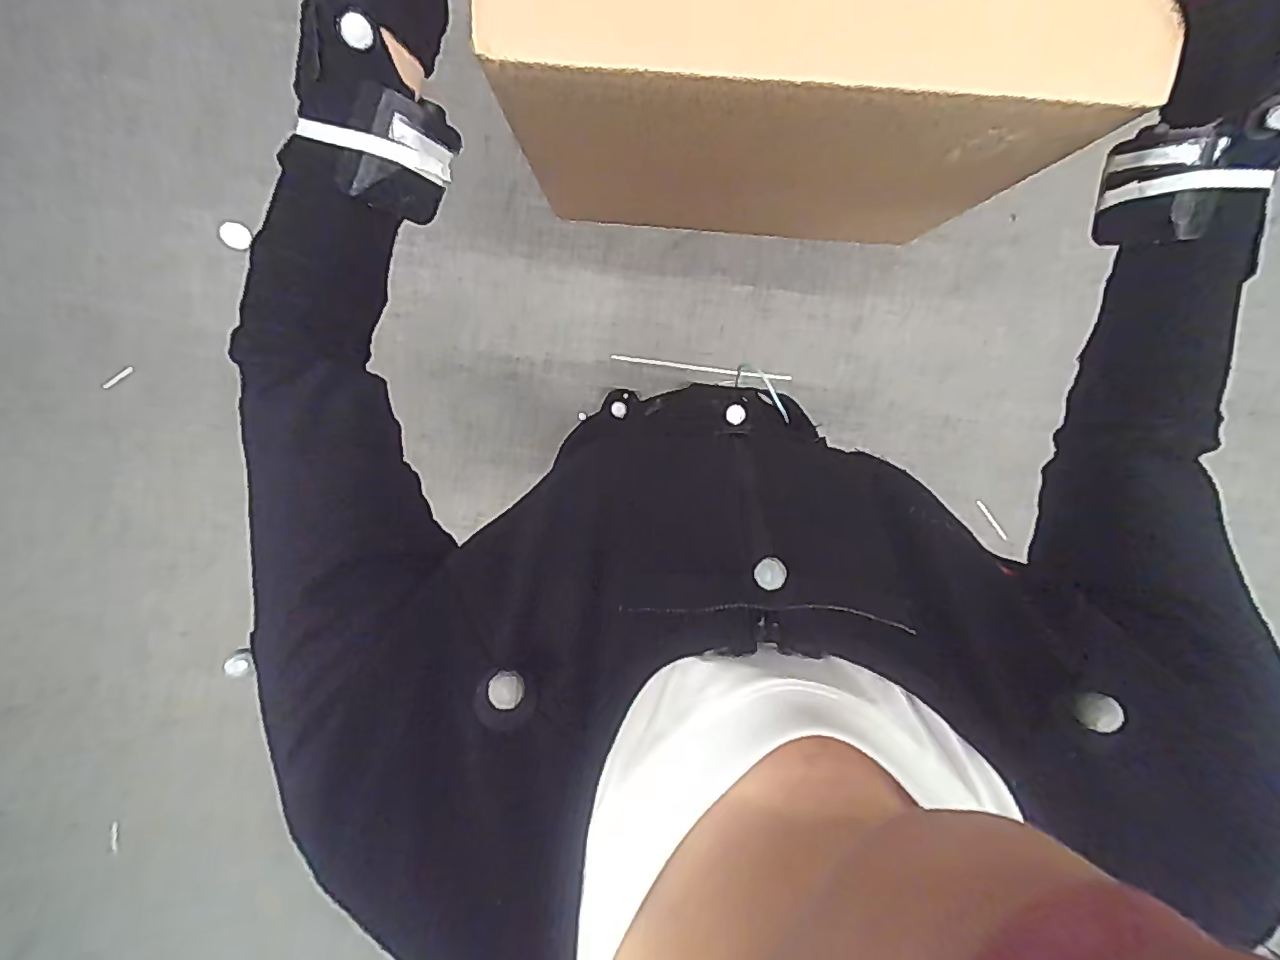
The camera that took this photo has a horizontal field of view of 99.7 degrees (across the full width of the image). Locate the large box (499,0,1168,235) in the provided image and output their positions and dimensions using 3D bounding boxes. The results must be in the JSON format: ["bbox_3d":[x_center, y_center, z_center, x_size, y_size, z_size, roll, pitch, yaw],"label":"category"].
[{"bbox_3d":[0.116,-0.414,0.447,0.408,0.320,0.320,3,100,-2],"label":"large box"}]
